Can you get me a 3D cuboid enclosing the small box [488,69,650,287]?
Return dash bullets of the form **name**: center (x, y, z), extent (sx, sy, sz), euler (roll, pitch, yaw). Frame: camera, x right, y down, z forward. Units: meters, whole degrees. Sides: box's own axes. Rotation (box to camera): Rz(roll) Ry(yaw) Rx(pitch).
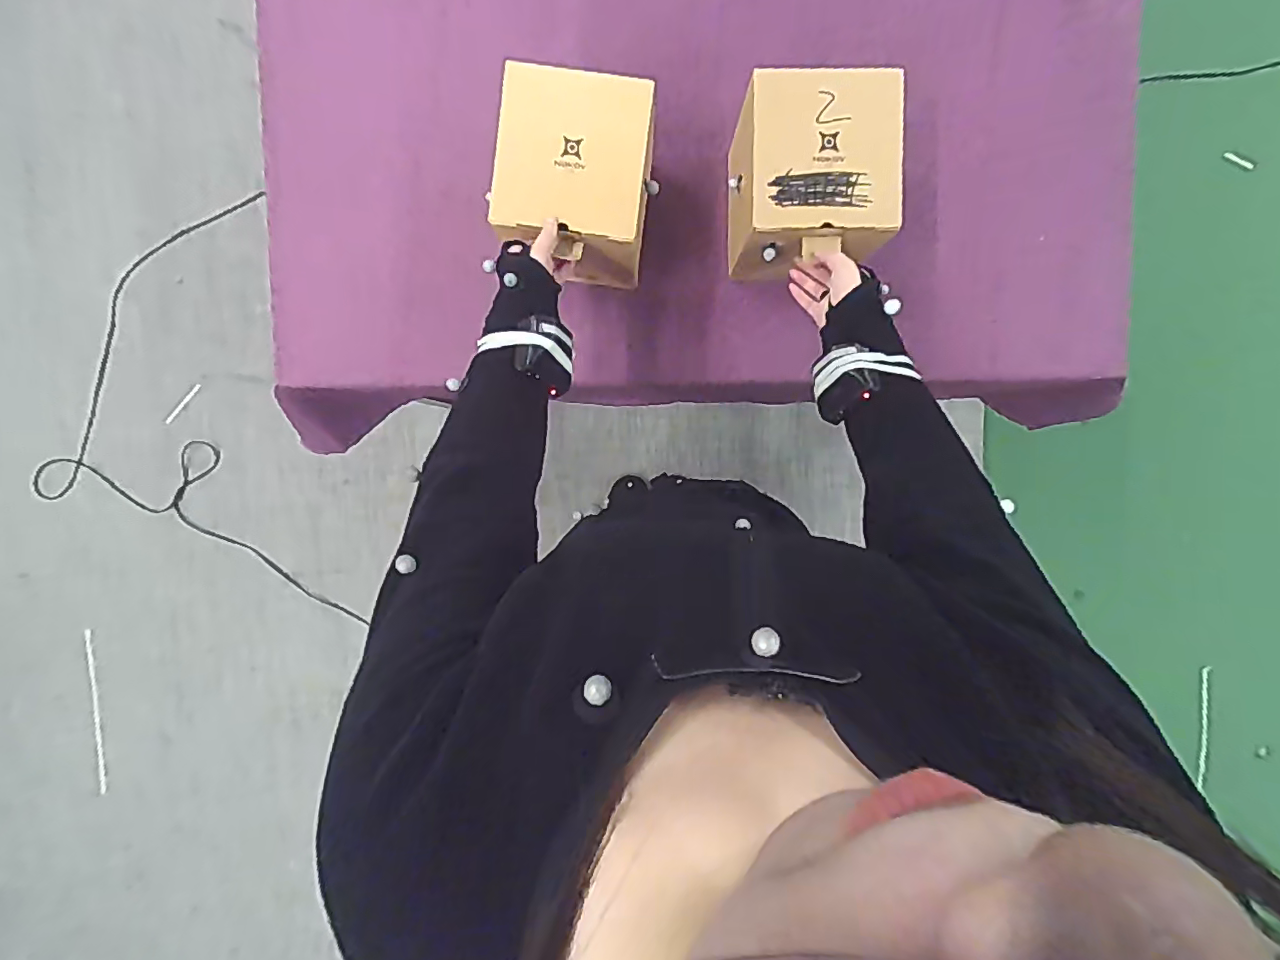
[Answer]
- **small box**: center (-0.082, -0.367, 0.687), extent (0.168, 0.176, 0.179), euler (7, 94, -1)
